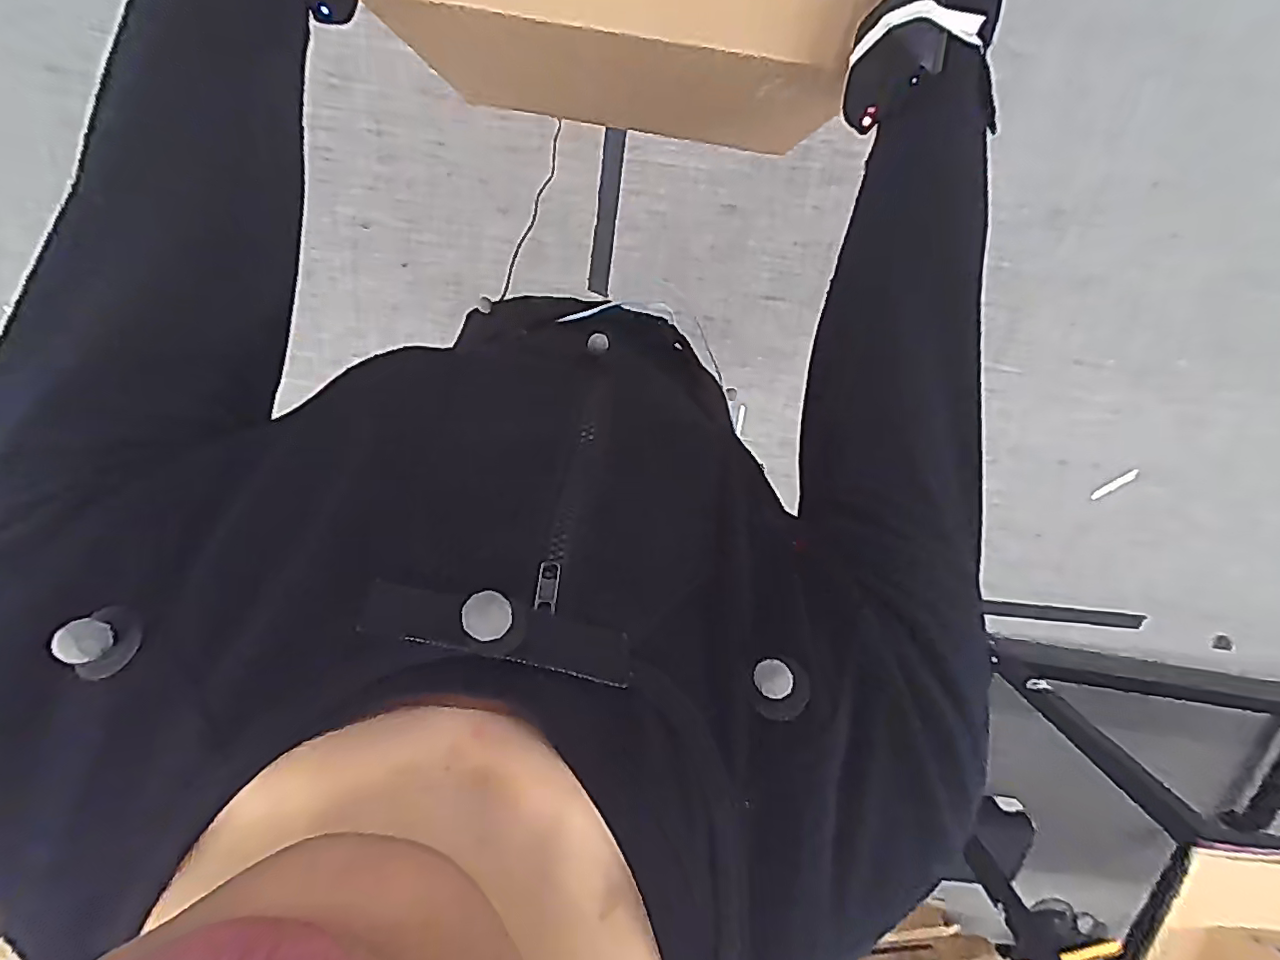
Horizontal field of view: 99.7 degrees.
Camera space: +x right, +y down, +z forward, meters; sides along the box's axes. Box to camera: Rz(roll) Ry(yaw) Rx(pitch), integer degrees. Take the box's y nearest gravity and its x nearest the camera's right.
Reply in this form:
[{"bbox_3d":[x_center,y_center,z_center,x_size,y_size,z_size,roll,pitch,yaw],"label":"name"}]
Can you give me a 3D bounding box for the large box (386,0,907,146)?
[{"bbox_3d":[0.012,-0.530,0.482,0.408,0.320,0.320,8,113,-4],"label":"large box"}]
